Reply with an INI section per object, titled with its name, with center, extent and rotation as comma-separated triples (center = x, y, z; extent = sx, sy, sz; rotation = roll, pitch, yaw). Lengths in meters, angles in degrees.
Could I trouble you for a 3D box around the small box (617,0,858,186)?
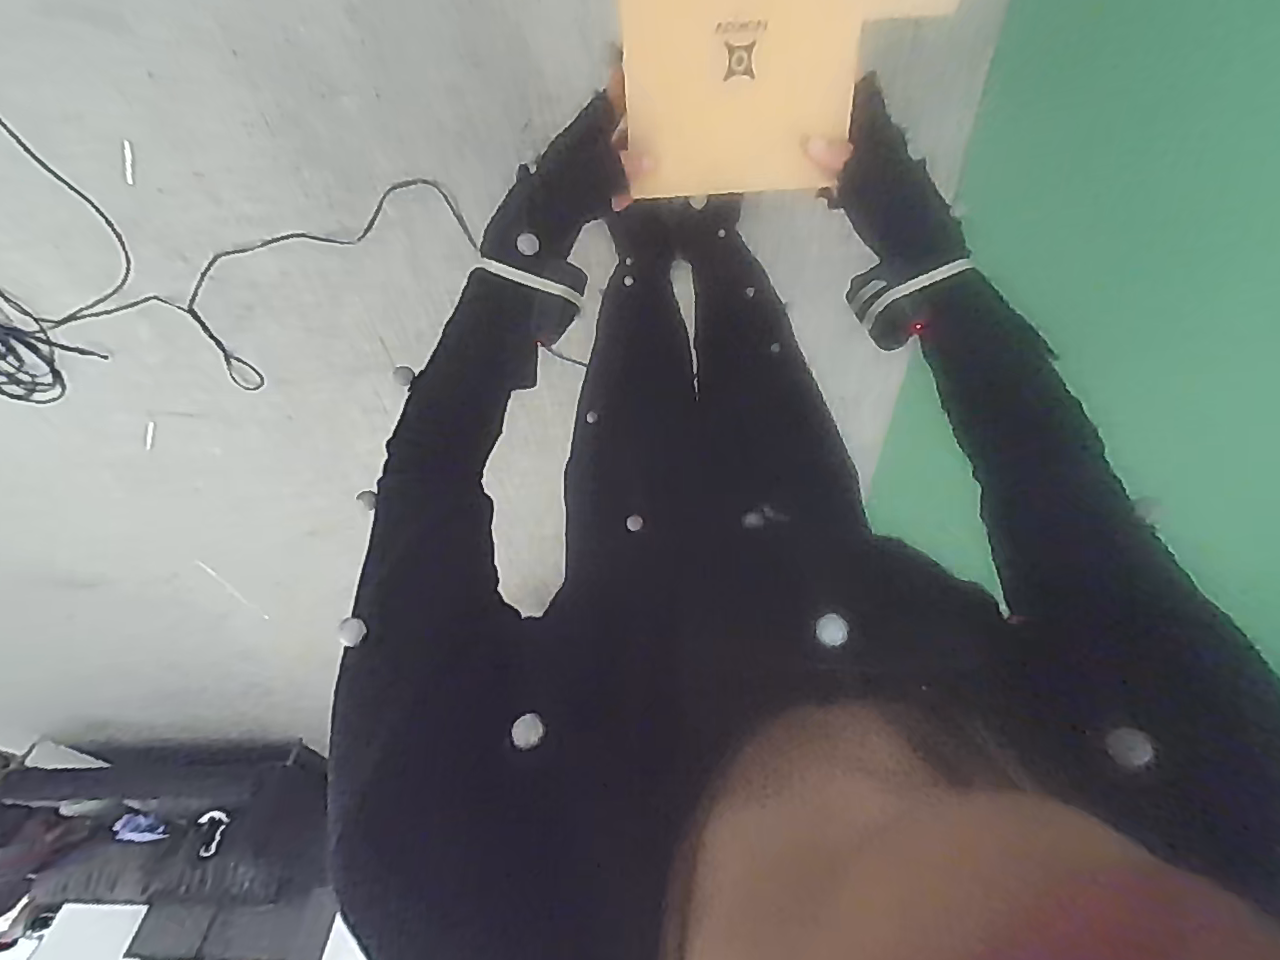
[small box]
center = 0.068, -0.348, 0.444
extent = 0.168, 0.176, 0.179
rotation = -3, 120, 1
